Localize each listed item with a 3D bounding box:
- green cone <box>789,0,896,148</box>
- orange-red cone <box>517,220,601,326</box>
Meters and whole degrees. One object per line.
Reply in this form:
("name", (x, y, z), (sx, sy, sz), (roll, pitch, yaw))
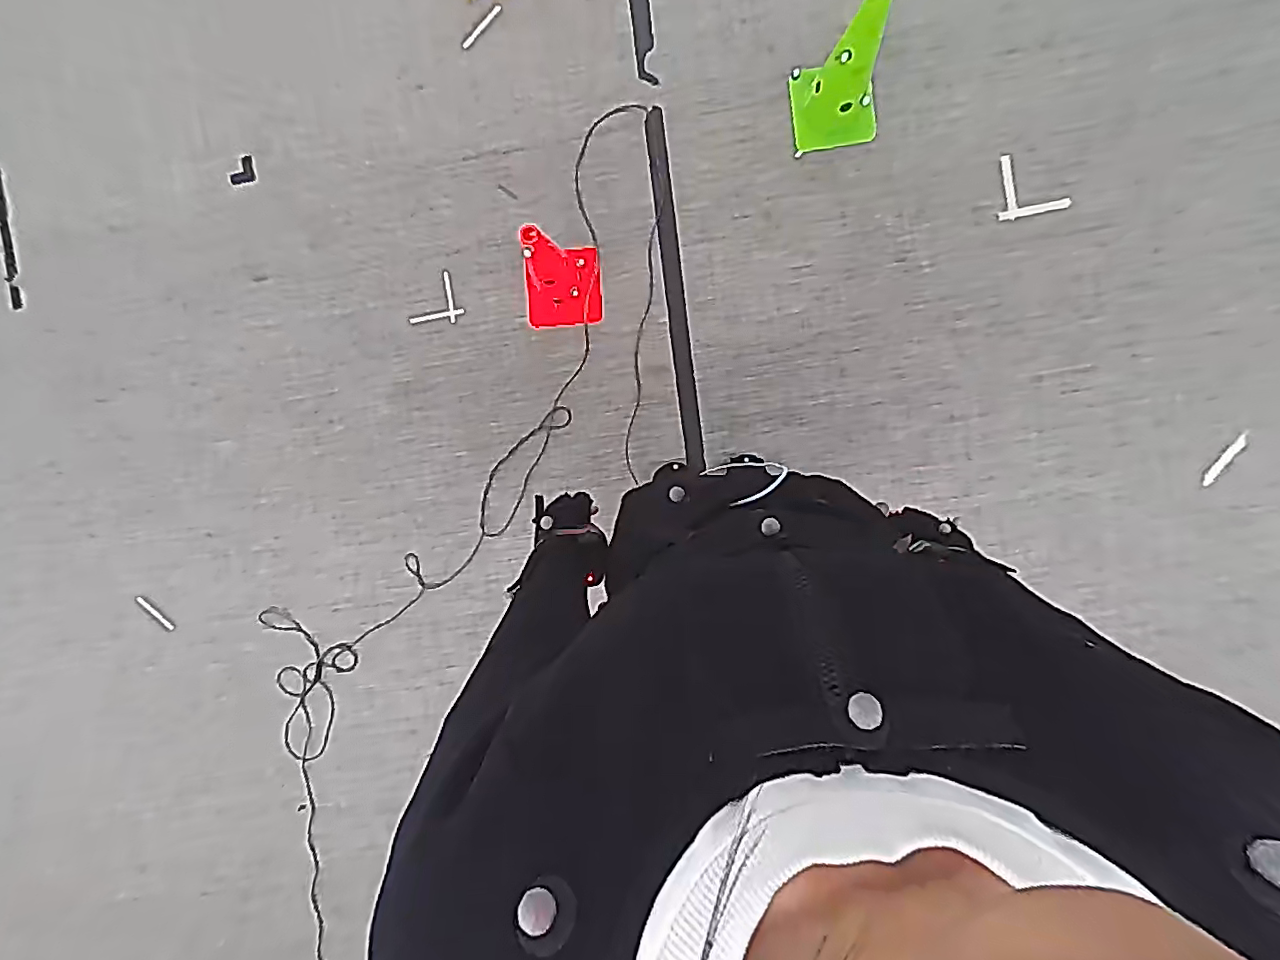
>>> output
("green cone", (0.473, -0.932, 1.182), (0.202, 0.368, 0.200), (-7, 93, 3))
("orange-red cone", (-0.216, -0.504, 1.252), (0.199, 0.360, 0.198), (-3, 91, 5))
